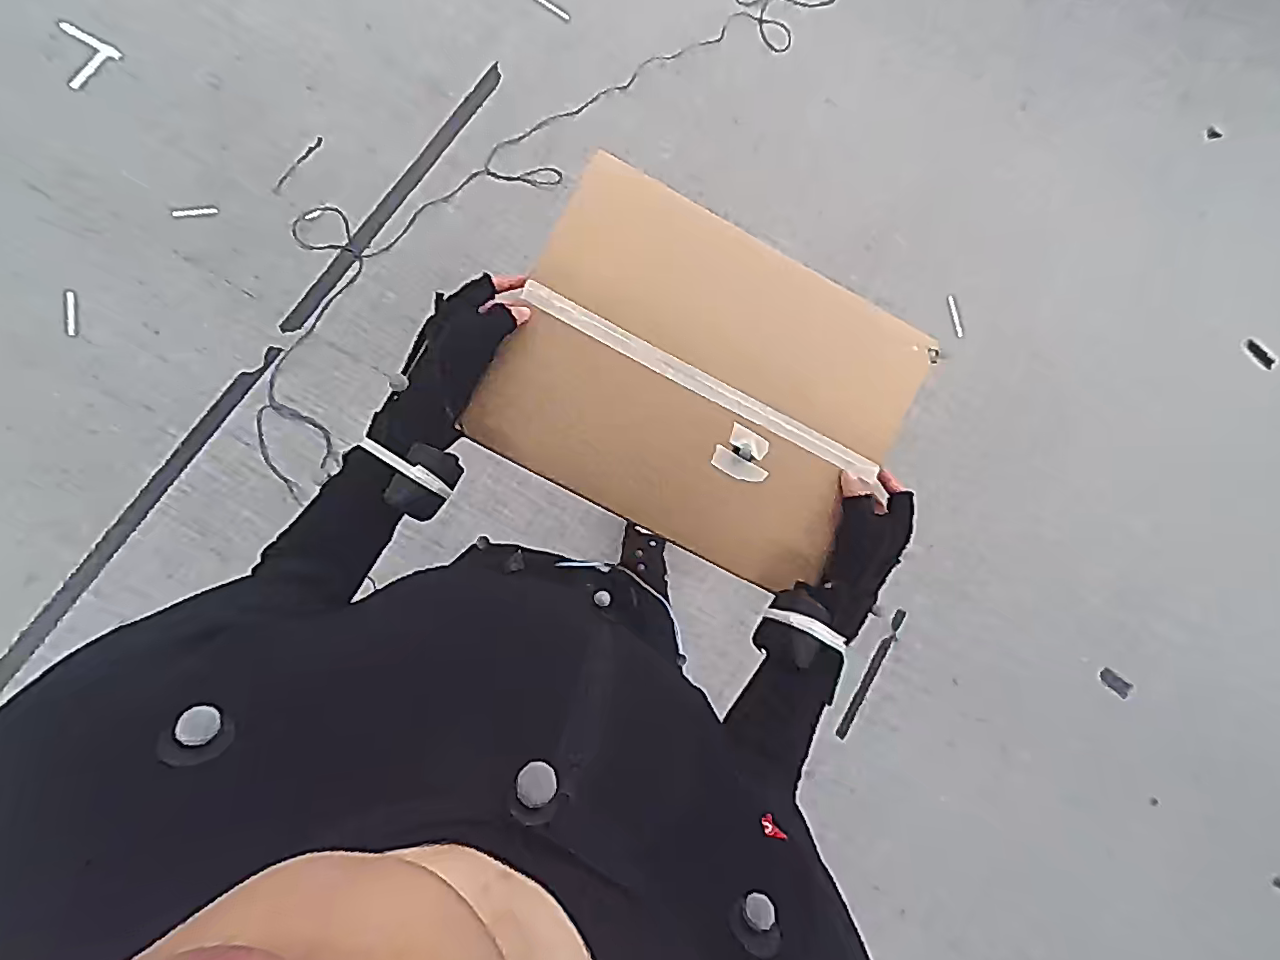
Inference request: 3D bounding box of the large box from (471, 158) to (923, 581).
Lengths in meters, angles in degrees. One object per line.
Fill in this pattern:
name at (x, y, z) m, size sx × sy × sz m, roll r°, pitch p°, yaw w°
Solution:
large box at (0.052, -0.115, 0.715) m, size 0.408 × 0.320 × 0.320 m, roll 27°, pitch 90°, yaw -6°
